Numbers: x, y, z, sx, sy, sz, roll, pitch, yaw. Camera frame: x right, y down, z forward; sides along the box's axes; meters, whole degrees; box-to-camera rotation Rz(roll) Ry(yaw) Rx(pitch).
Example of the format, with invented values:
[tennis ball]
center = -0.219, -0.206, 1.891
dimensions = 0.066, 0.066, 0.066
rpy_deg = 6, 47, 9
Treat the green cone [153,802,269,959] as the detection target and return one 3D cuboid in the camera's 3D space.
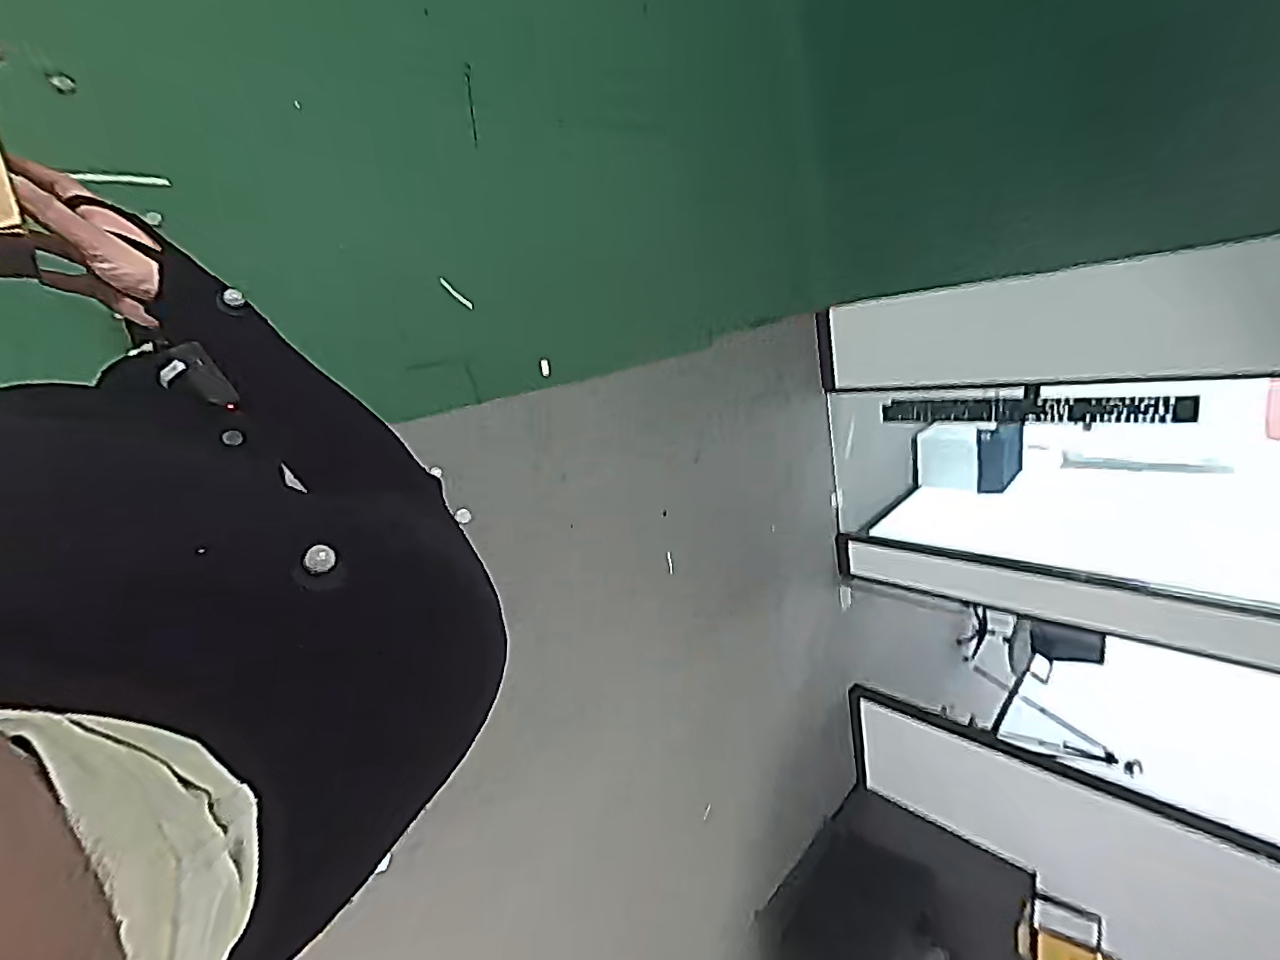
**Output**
[green cone]
center = -0.980, 0.974, 1.260
dimensions = 0.202, 0.368, 0.200
rpy_deg = -22, 110, -38
